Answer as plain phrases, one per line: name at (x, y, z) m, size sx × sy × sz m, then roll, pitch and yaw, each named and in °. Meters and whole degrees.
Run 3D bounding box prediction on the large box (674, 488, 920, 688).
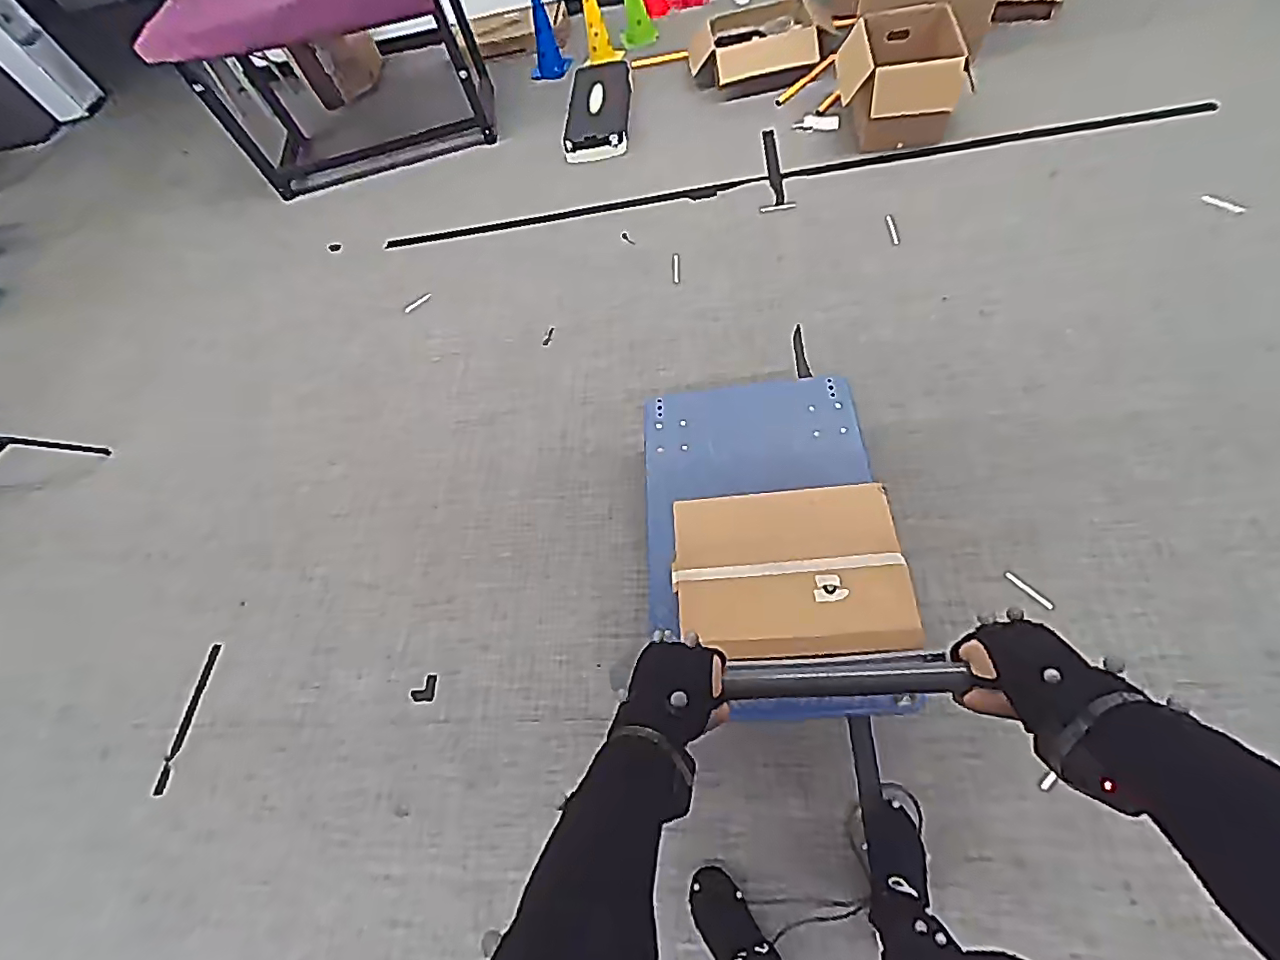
large box at (0.293, 0.240, 1.129) m, size 0.408 × 0.320 × 0.320 m, roll -6°, pitch 62°, yaw 7°
